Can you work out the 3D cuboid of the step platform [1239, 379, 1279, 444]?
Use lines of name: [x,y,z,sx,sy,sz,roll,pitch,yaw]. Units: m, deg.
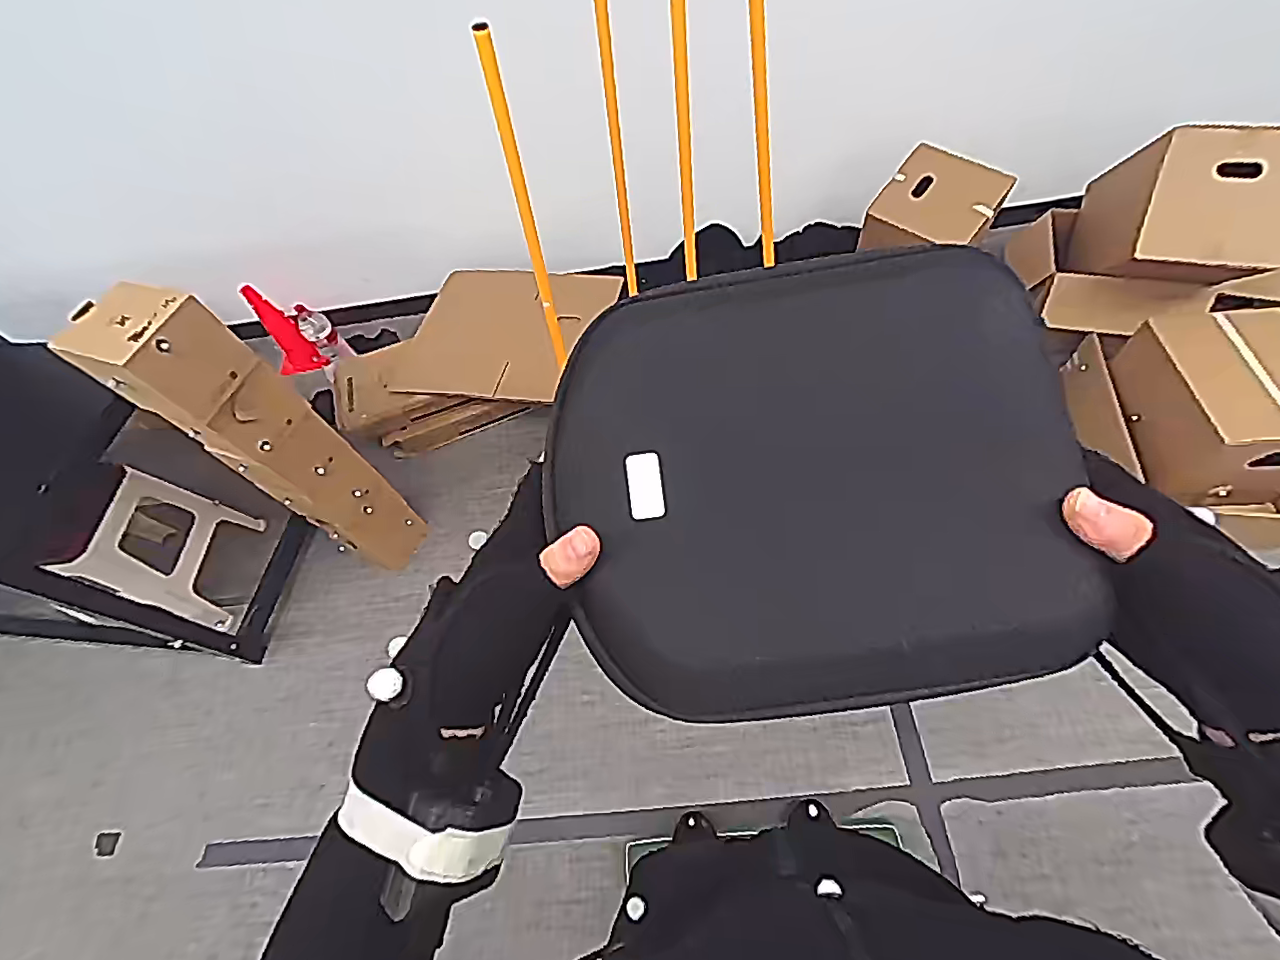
step platform: [2.127,-0.311,1.549,0.684,0.204,0.286,-32,61,-11]
